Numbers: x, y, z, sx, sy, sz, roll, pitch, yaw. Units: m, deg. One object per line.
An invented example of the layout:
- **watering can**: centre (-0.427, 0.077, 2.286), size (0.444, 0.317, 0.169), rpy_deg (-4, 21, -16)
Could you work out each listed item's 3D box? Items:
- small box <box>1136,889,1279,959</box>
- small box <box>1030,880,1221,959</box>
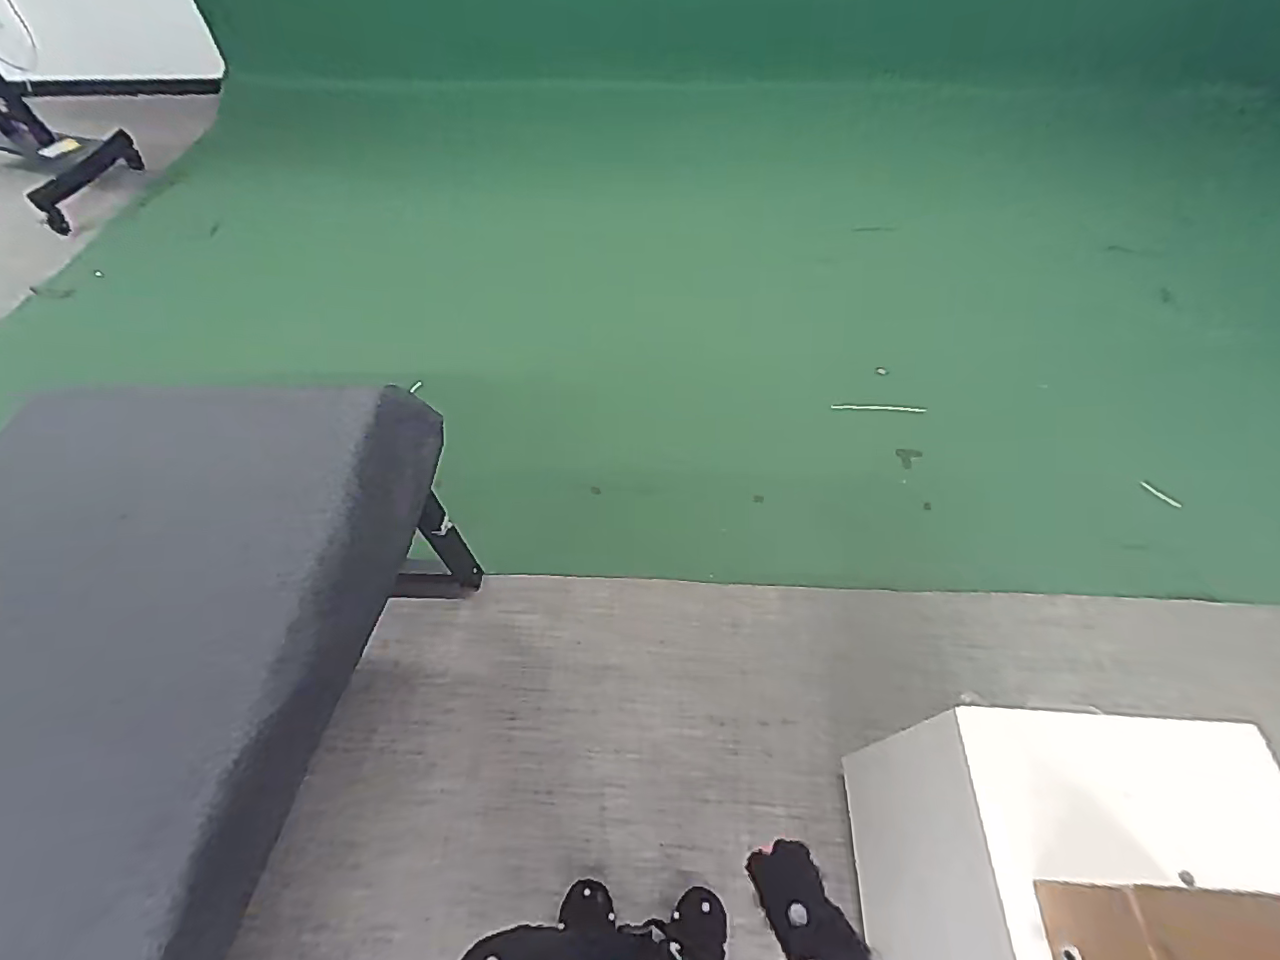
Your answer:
- **small box**: centre (0.535, 0.402, 0.388), size (0.179, 0.176, 0.168), rpy_deg (0, 56, 0)
- **small box**: centre (0.536, 0.495, 0.523), size (0.179, 0.176, 0.168), rpy_deg (0, 55, 3)
